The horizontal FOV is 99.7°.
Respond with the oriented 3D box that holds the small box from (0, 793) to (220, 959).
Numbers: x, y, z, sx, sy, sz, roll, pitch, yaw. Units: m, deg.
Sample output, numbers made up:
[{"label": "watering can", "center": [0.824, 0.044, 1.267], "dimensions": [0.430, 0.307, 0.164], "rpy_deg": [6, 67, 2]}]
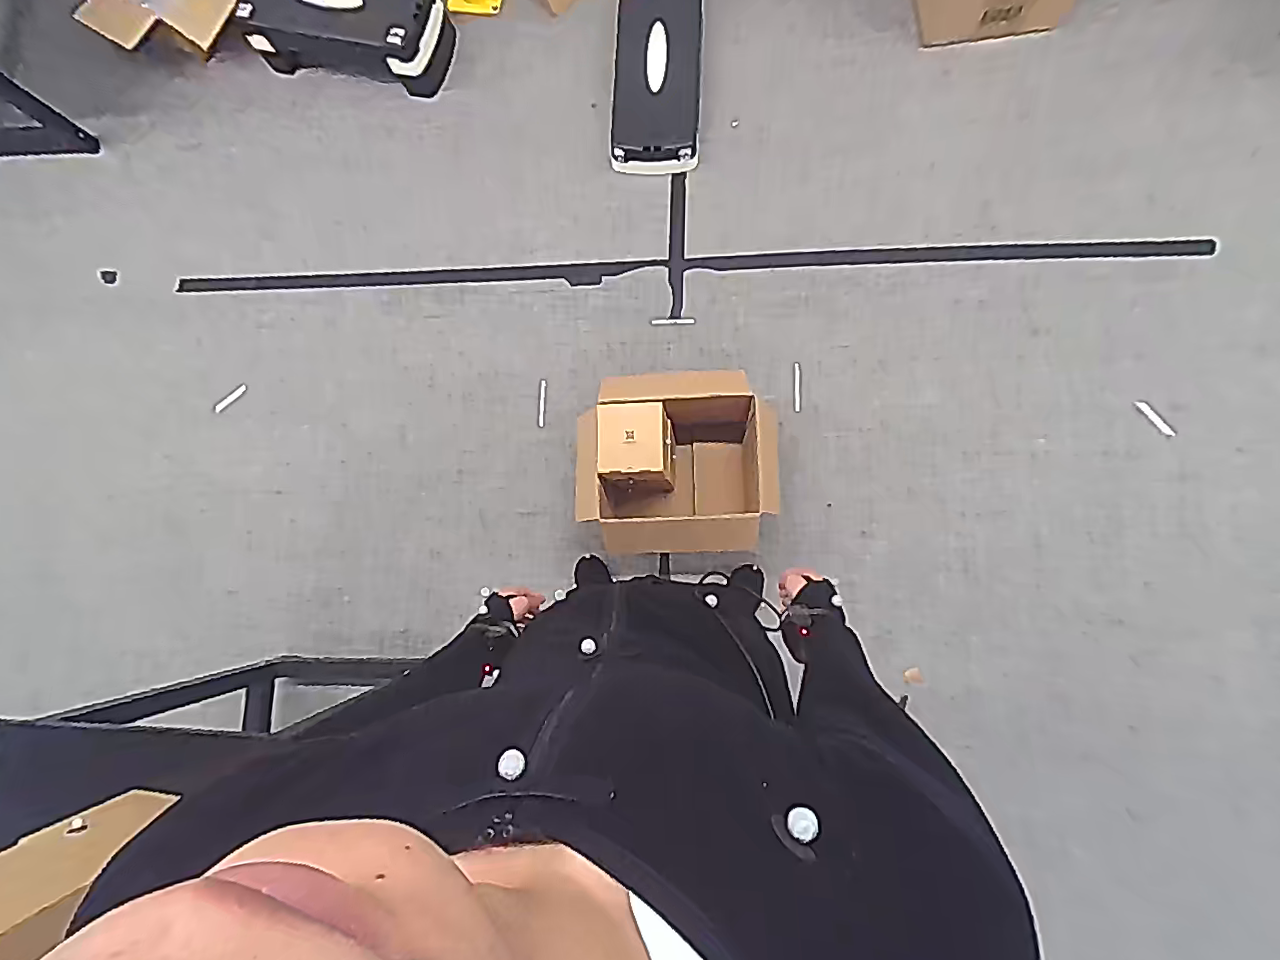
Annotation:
[{"label": "small box", "center": [-0.815, 0.616, 0.841], "dimensions": [0.179, 0.176, 0.168], "rpy_deg": [5, 85, 6]}]
